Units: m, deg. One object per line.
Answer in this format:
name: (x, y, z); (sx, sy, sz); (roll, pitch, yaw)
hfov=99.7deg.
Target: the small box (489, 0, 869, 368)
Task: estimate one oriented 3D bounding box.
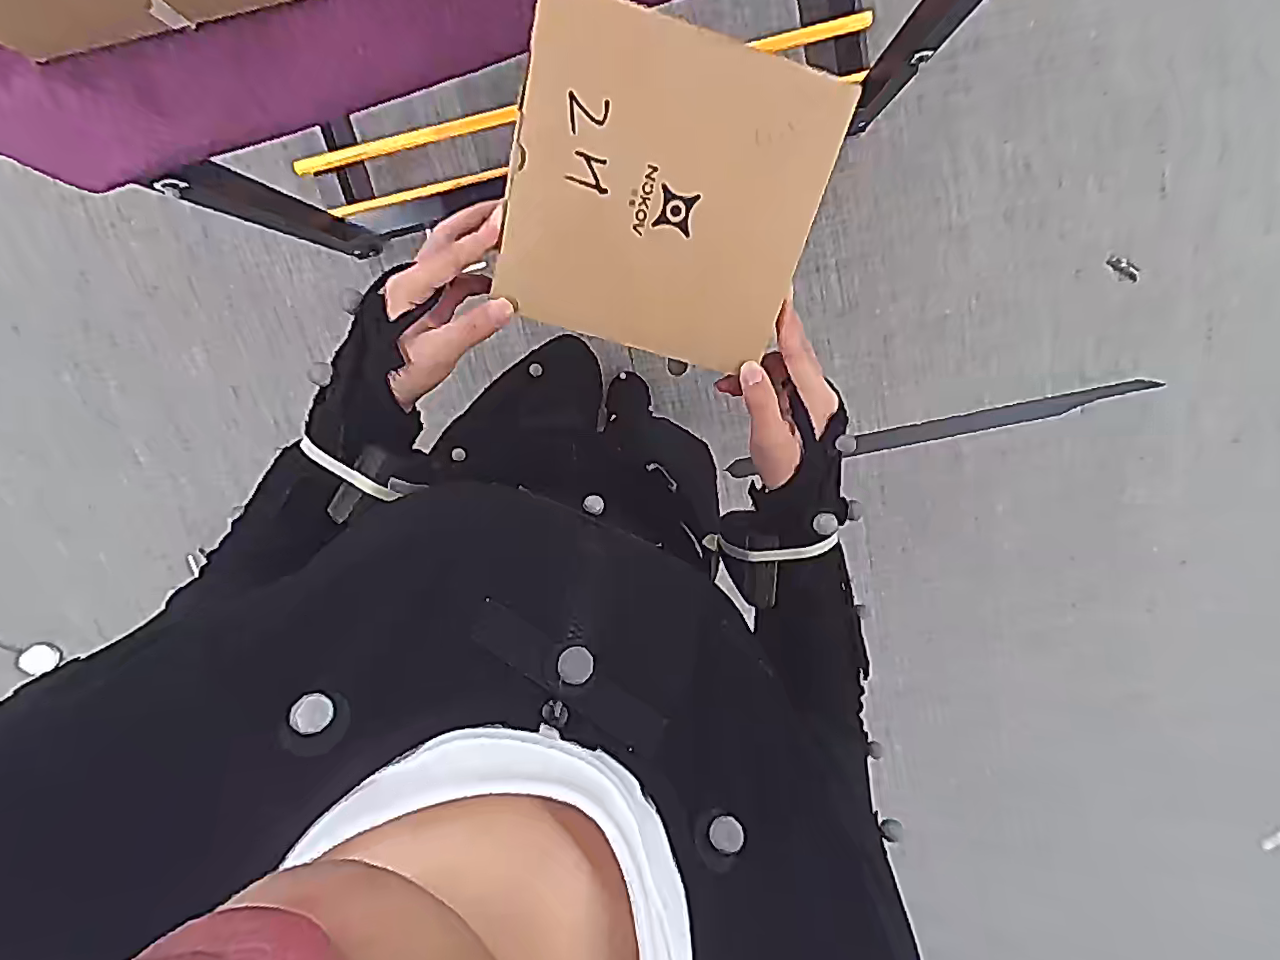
small box: (0.014, -0.194, 0.371); (0.179, 0.176, 0.168); (14, 113, -7)
